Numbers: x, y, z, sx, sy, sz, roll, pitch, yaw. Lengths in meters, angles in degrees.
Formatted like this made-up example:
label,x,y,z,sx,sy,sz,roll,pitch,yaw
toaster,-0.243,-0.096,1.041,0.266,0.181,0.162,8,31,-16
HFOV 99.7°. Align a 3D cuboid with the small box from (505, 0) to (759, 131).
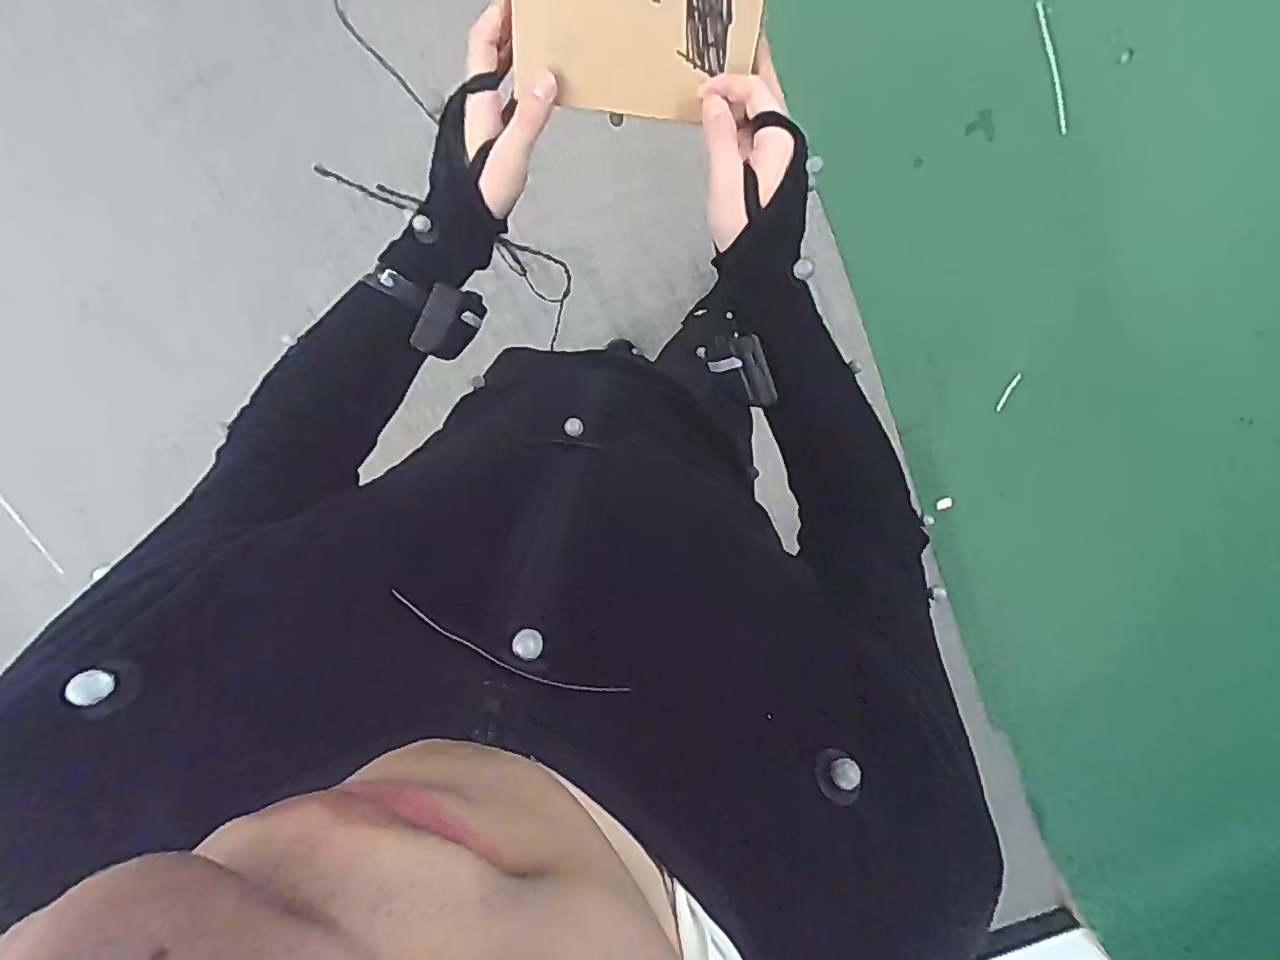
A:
label,x,y,z,sx,sy,sz,roll,pitch,yaw
small box,-0.008,-0.388,0.421,0.179,0.176,0.168,2,129,-6
